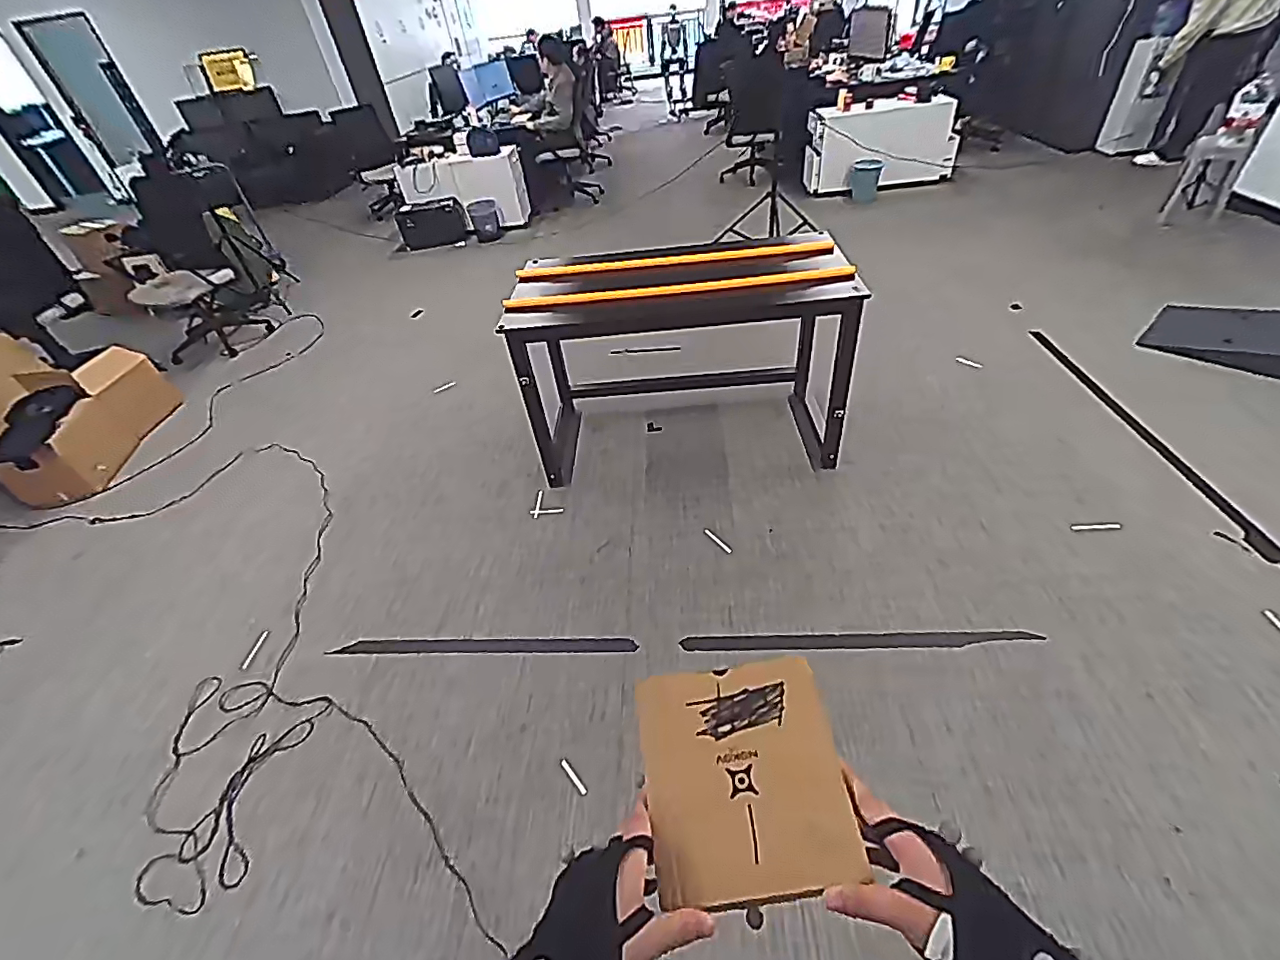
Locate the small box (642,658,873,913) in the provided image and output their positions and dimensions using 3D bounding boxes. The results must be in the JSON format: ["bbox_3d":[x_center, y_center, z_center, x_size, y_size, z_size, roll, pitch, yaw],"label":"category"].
[{"bbox_3d":[0.097,0.298,0.525,0.168,0.176,0.179,-9,50,1],"label":"small box"}]
